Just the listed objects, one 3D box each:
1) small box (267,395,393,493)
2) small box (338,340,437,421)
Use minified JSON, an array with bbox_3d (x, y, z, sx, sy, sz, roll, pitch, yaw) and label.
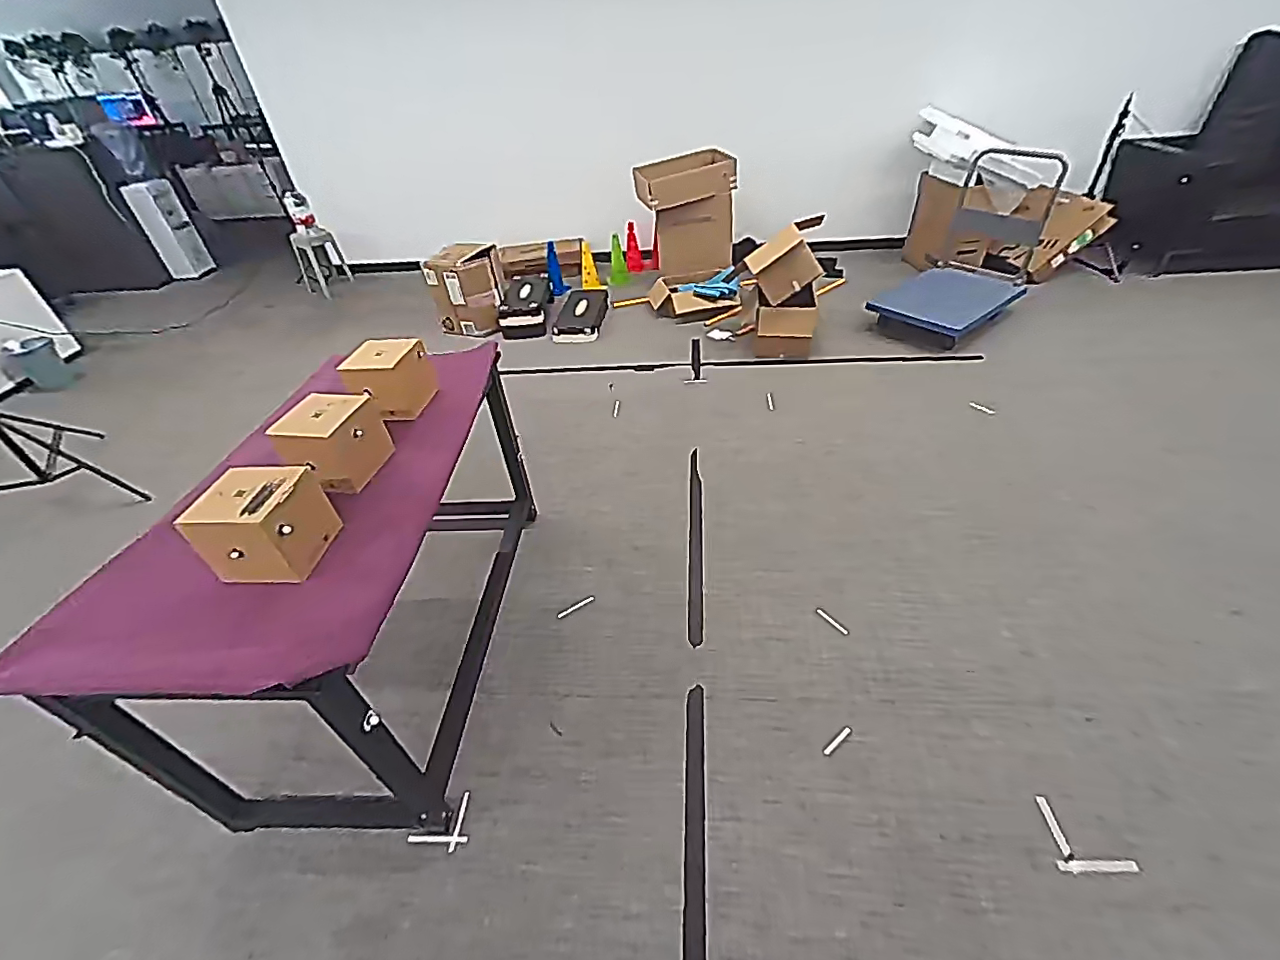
[{"bbox_3d":[-0.730,-0.086,1.299,0.168,0.176,0.179,4,40,10],"label":"small box"},{"bbox_3d":[-0.700,-0.277,1.528,0.168,0.176,0.179,0,40,8],"label":"small box"}]
